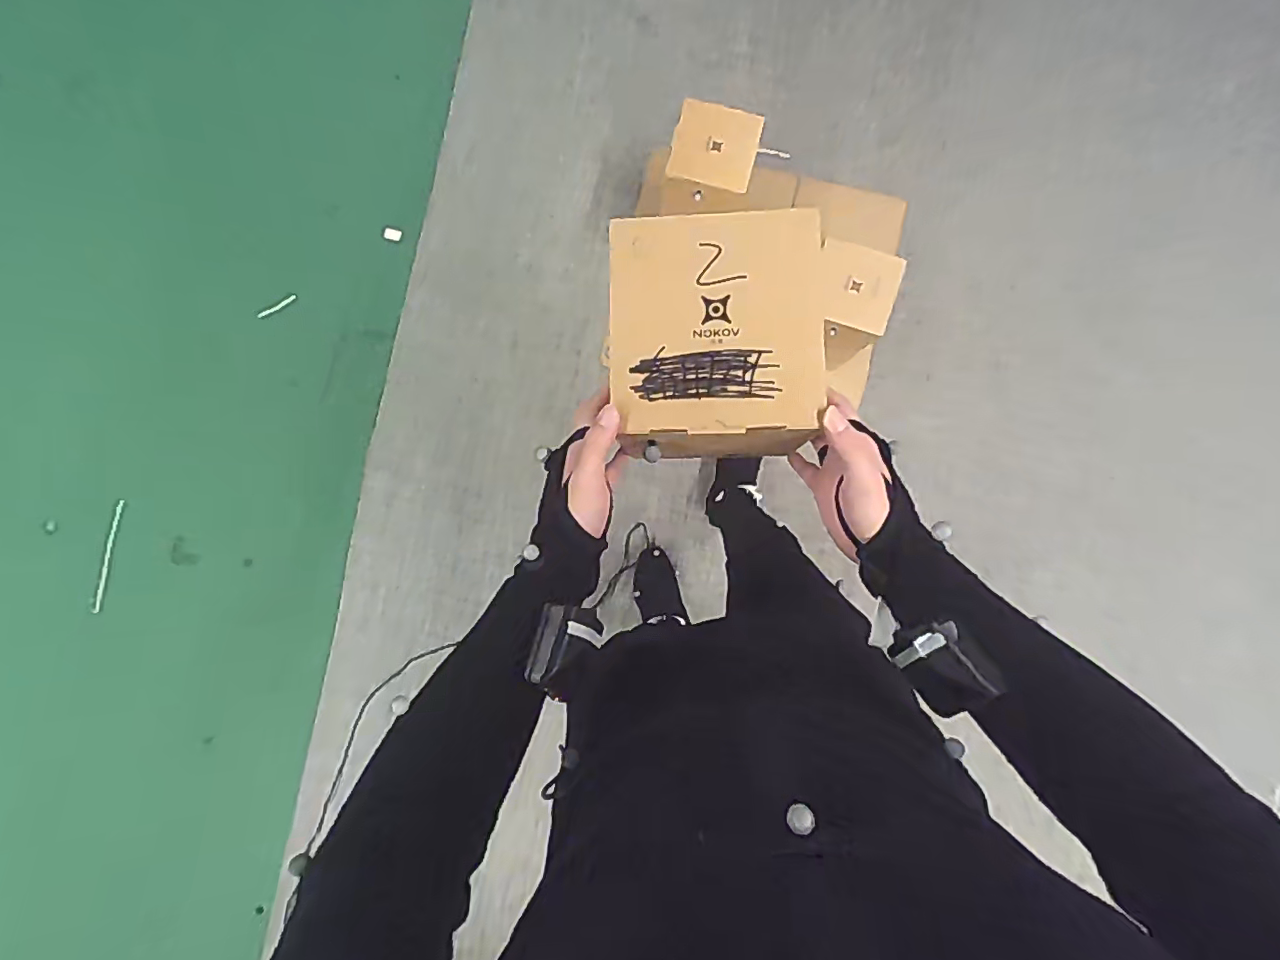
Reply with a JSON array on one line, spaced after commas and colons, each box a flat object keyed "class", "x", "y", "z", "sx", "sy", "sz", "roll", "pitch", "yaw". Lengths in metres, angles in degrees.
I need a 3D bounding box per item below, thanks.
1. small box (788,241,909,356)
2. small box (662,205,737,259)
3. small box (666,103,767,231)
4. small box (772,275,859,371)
[{"class": "small box", "x": 0.443, "y": -0.385, "z": 1.180, "sx": 0.179, "sy": 0.176, "sz": 0.168, "roll": 19, "pitch": 90, "yaw": 2}, {"class": "small box", "x": 0.159, "y": -0.676, "z": 1.351, "sx": 0.179, "sy": 0.176, "sz": 0.168, "roll": 15, "pitch": 89, "yaw": 2}, {"class": "small box", "x": 0.160, "y": -0.676, "z": 1.190, "sx": 0.179, "sy": 0.176, "sz": 0.168, "roll": 15, "pitch": 90, "yaw": 2}, {"class": "small box", "x": 0.448, "y": -0.380, "z": 1.344, "sx": 0.179, "sy": 0.176, "sz": 0.168, "roll": 16, "pitch": 89, "yaw": 2}]
